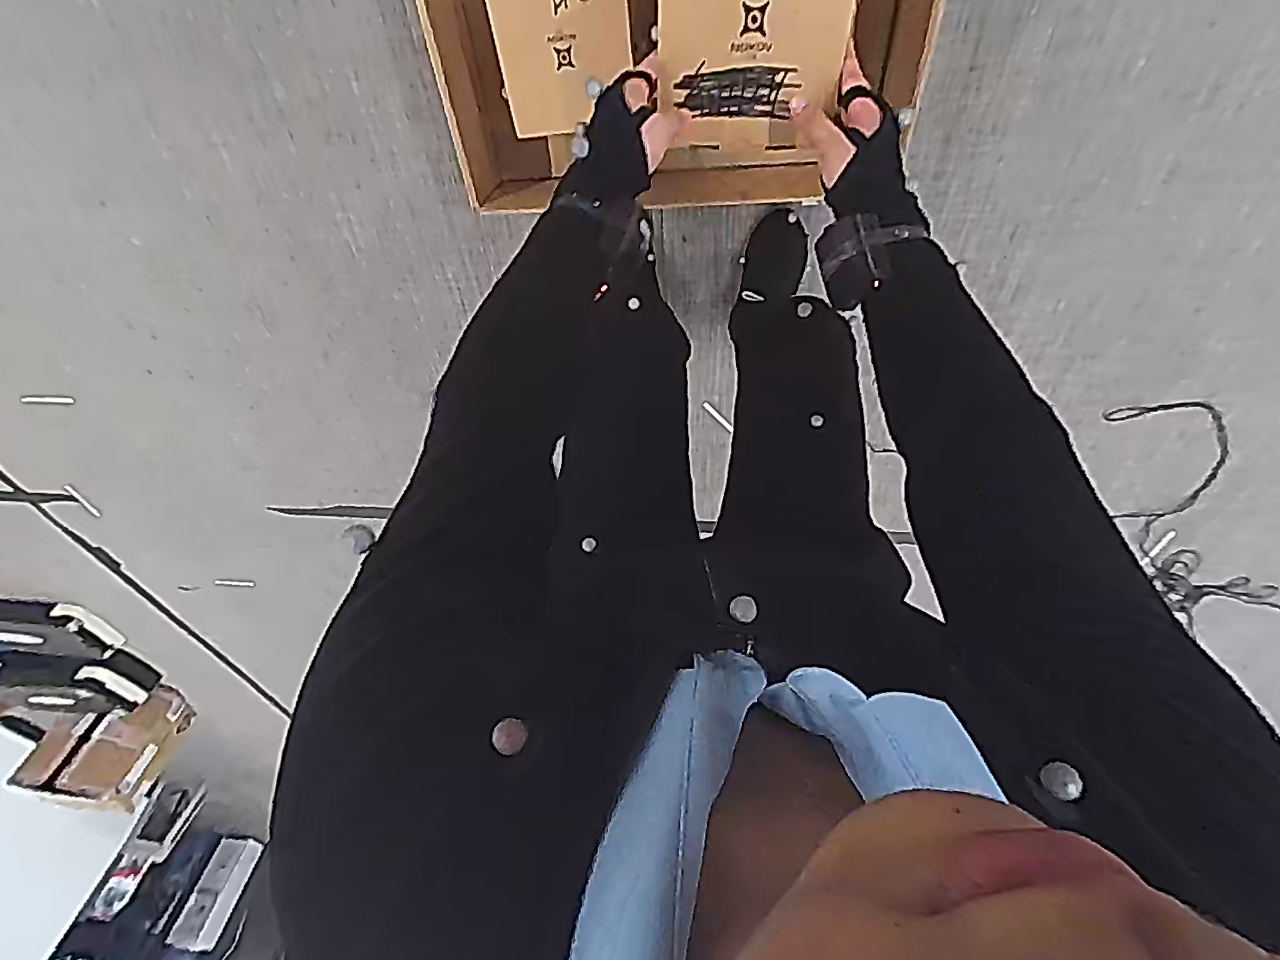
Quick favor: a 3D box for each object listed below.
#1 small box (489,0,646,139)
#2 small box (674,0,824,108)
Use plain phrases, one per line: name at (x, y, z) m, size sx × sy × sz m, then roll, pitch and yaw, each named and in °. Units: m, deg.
small box at (-0.083, -0.572, 0.707) m, size 0.168 × 0.176 × 0.179 m, roll -2°, pitch 133°, yaw 6°
small box at (0.132, -0.585, 0.672) m, size 0.168 × 0.176 × 0.179 m, roll 5°, pitch 134°, yaw 4°
